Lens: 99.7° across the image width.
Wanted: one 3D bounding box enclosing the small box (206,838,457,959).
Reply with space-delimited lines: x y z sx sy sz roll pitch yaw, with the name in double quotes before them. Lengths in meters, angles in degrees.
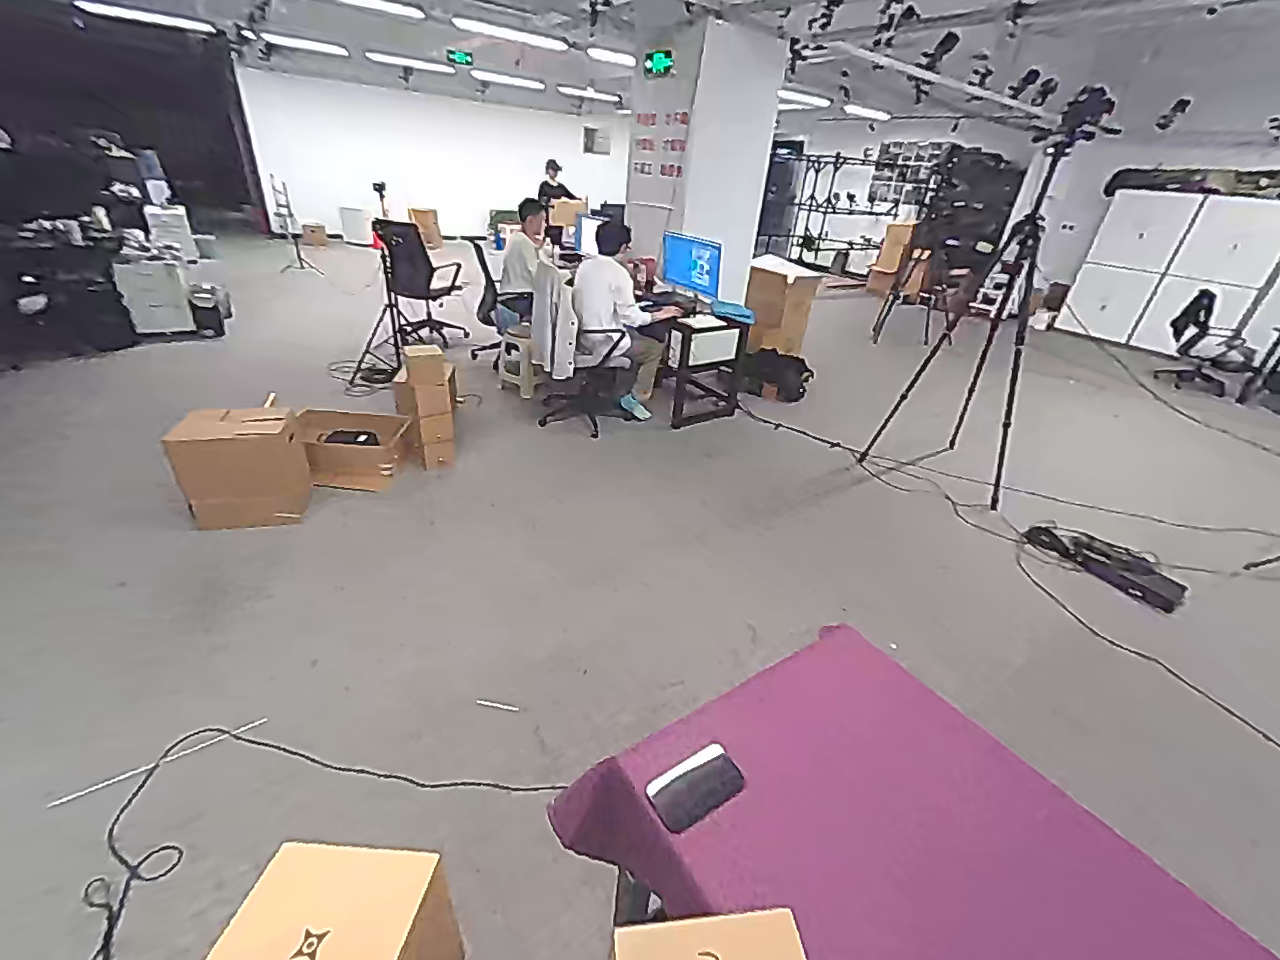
"small box" -0.283 0.477 0.499 0.168 0.176 0.179 1 25 5
